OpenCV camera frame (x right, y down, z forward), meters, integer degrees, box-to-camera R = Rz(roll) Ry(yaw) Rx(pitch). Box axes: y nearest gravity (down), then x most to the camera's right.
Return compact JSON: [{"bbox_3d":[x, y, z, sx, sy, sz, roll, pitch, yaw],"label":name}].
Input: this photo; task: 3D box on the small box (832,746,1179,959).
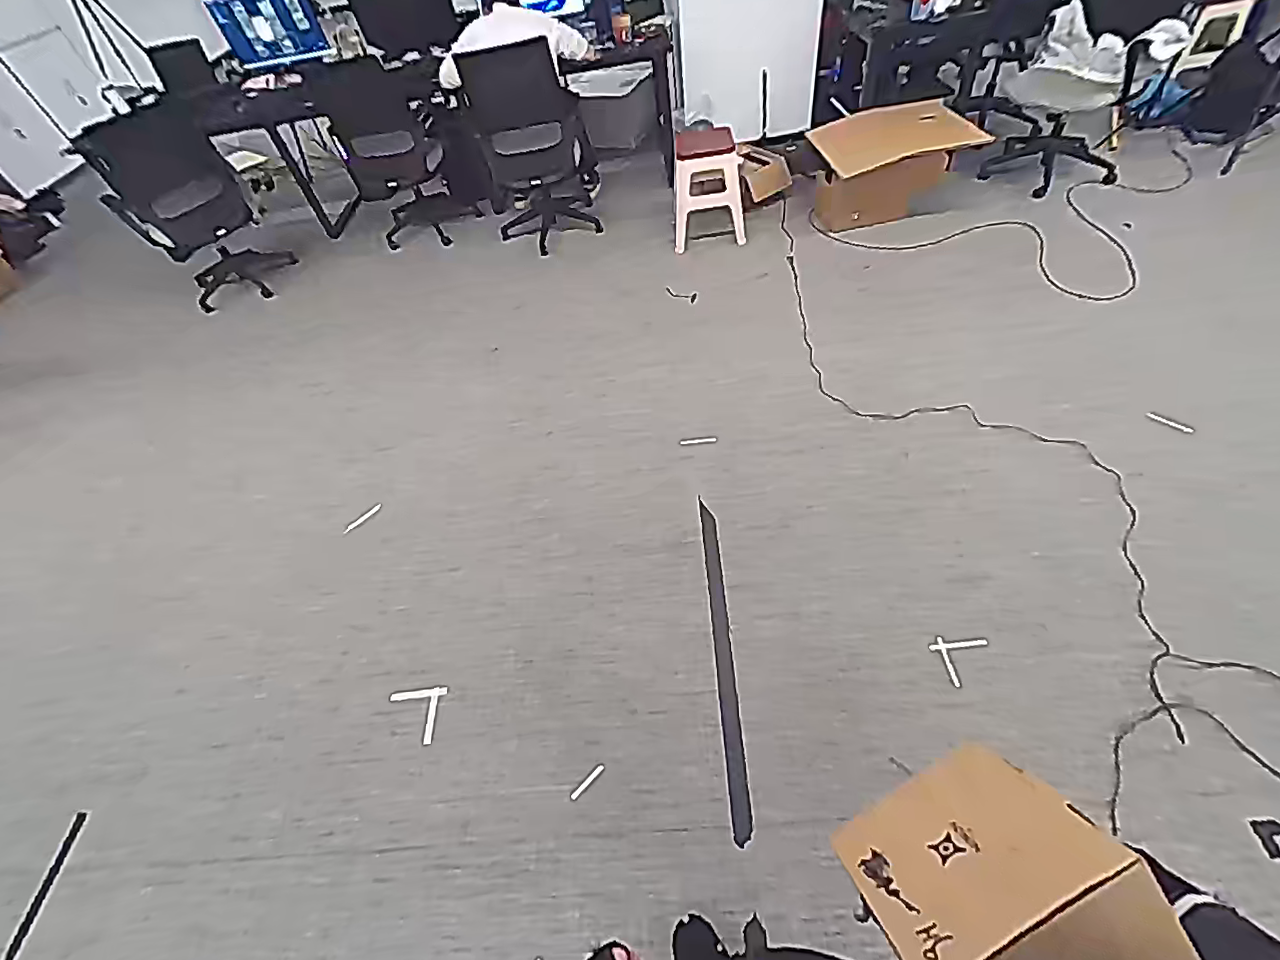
[{"bbox_3d":[0.305,0.376,0.456,0.179,0.168,0.176,-31,91,-3],"label":"small box"}]
